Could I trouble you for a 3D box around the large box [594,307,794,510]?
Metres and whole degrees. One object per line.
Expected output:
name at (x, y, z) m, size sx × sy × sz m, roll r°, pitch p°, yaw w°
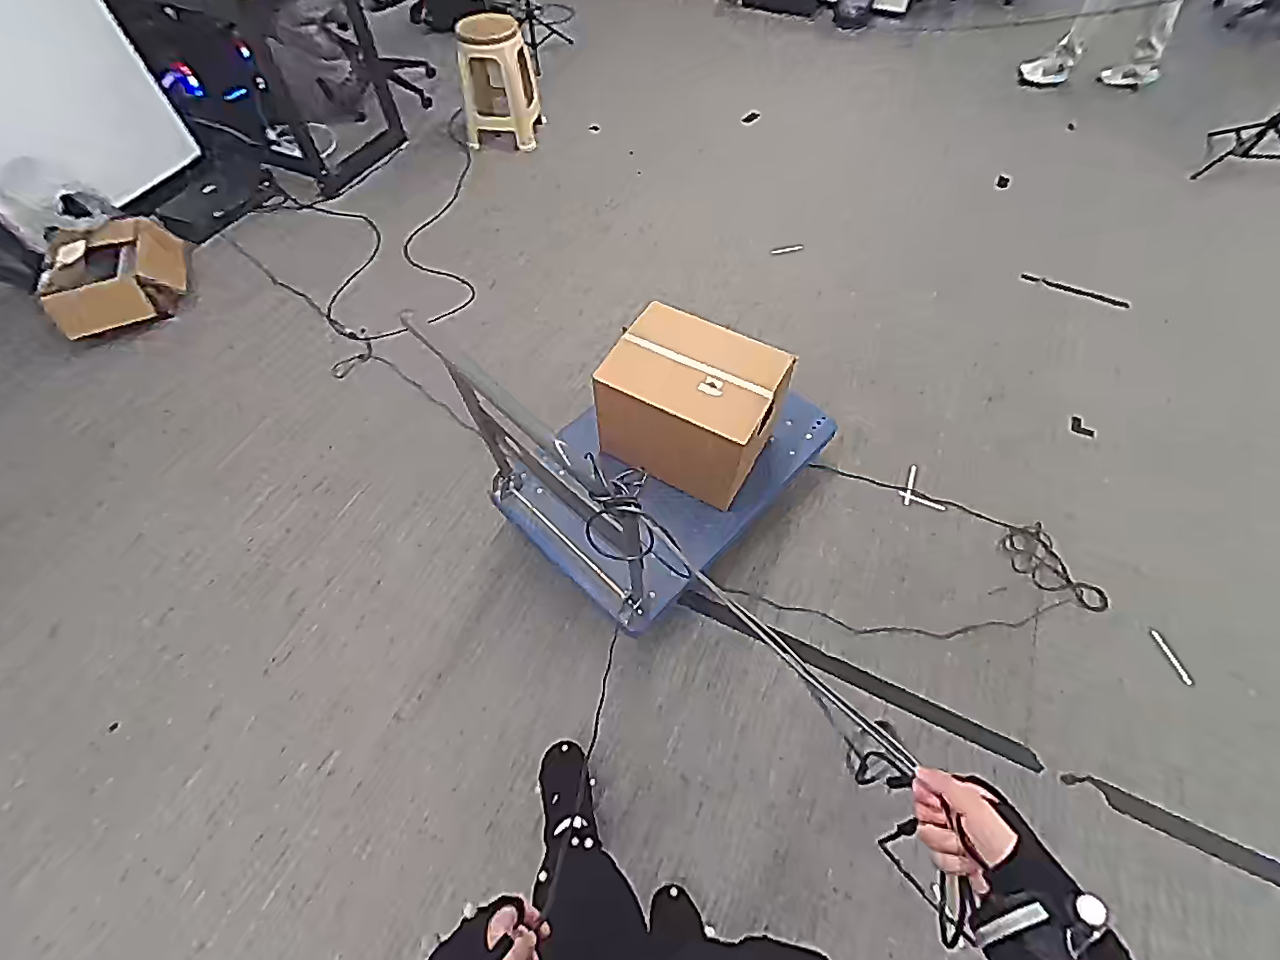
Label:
large box at (0.128, -0.185, 1.428) m, size 0.408 × 0.320 × 0.320 m, roll 26°, pitch 62°, yaw 14°
